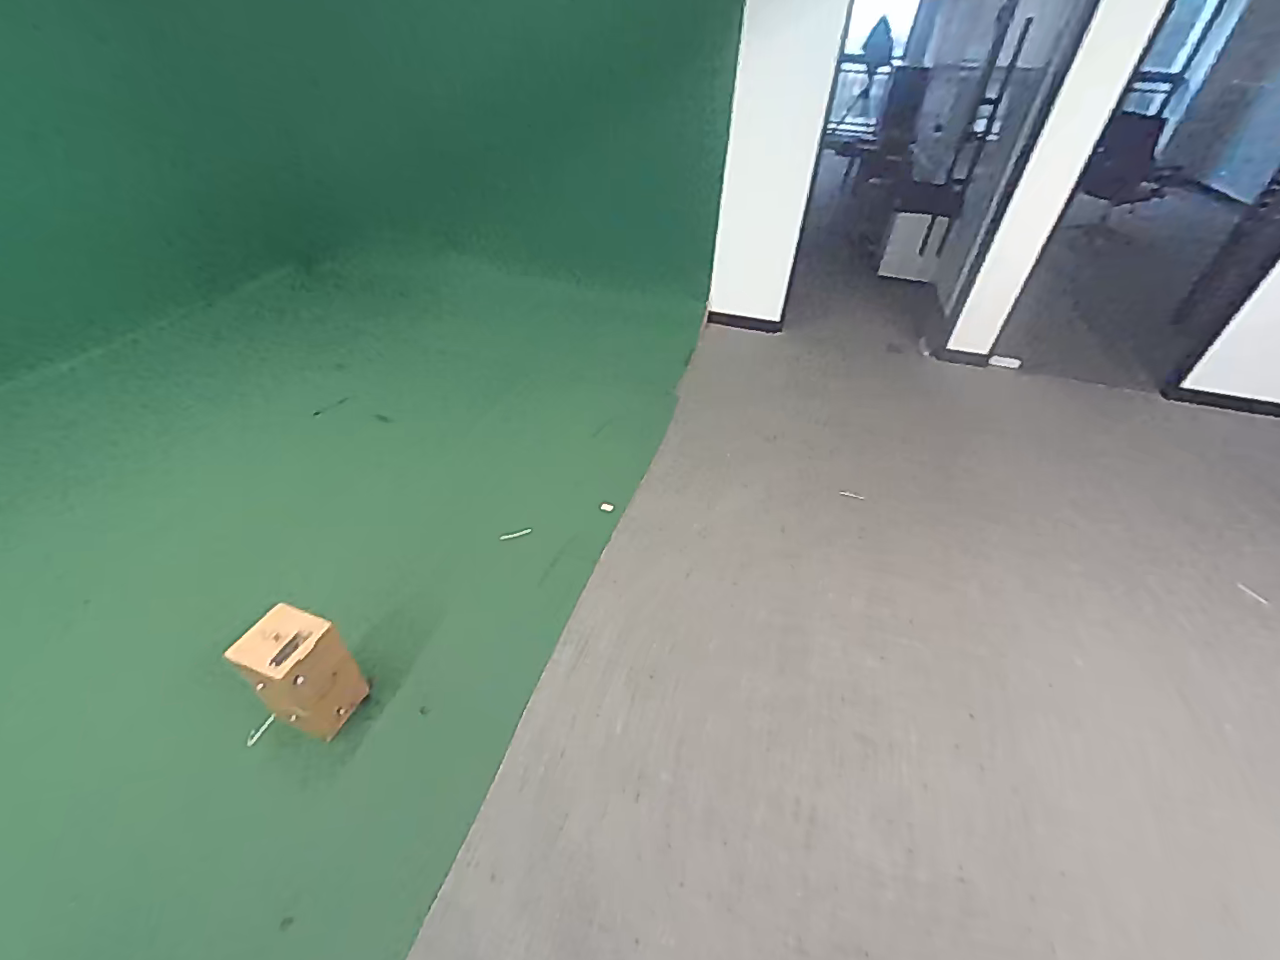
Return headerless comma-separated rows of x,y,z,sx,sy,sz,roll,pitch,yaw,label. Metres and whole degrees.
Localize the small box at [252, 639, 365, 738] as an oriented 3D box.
-0.896,0.571,1.475,0.179,0.176,0.168,16,43,13,small box
